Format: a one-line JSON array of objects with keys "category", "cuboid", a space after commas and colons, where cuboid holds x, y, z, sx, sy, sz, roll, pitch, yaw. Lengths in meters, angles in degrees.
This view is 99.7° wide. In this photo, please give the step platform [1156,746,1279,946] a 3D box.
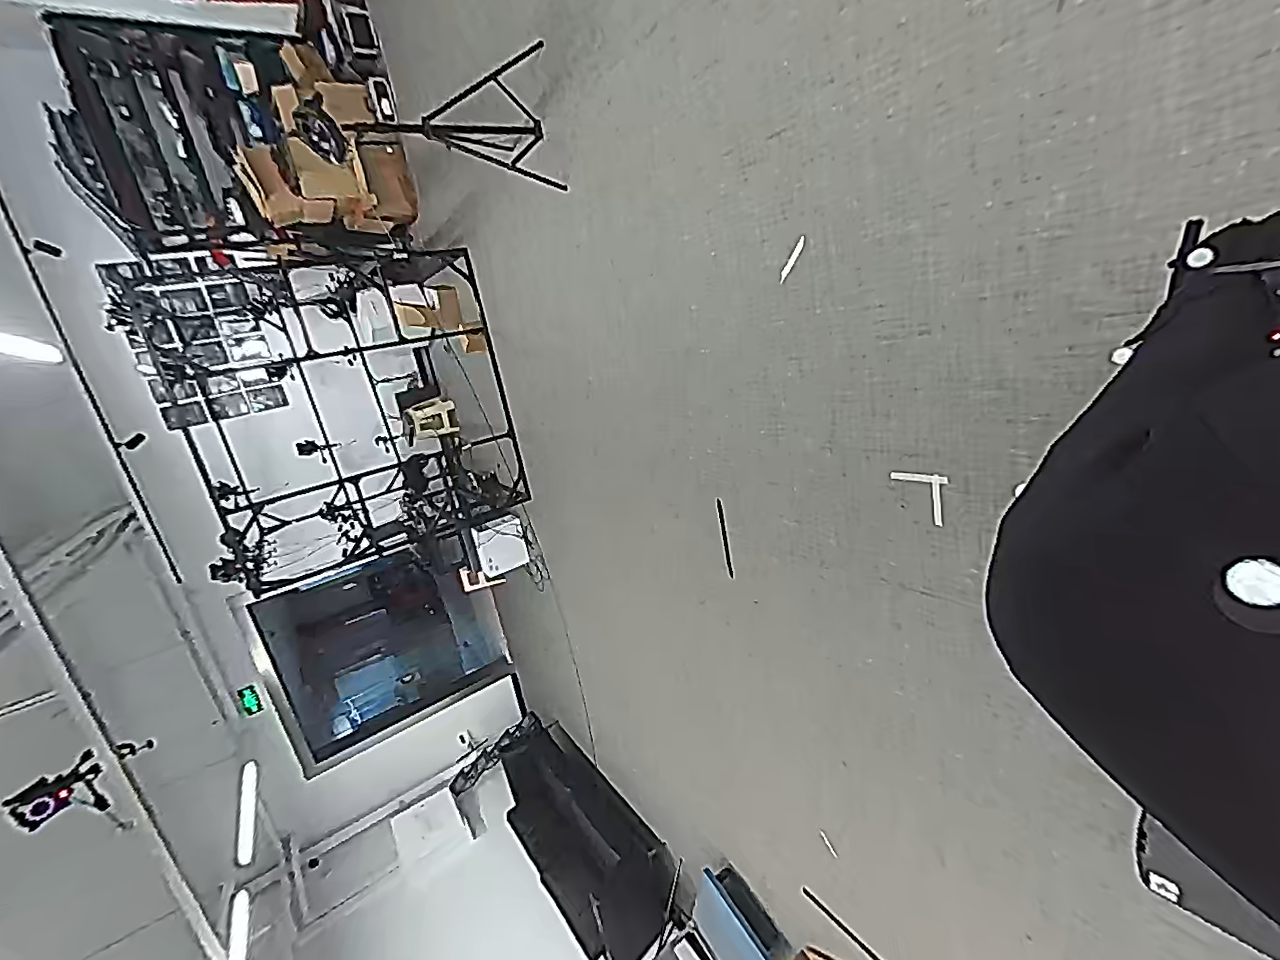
[{"category": "step platform", "cuboid": [1.401, 0.799, 0.972, 0.684, 0.204, 0.286, 13, 118, 57]}]
